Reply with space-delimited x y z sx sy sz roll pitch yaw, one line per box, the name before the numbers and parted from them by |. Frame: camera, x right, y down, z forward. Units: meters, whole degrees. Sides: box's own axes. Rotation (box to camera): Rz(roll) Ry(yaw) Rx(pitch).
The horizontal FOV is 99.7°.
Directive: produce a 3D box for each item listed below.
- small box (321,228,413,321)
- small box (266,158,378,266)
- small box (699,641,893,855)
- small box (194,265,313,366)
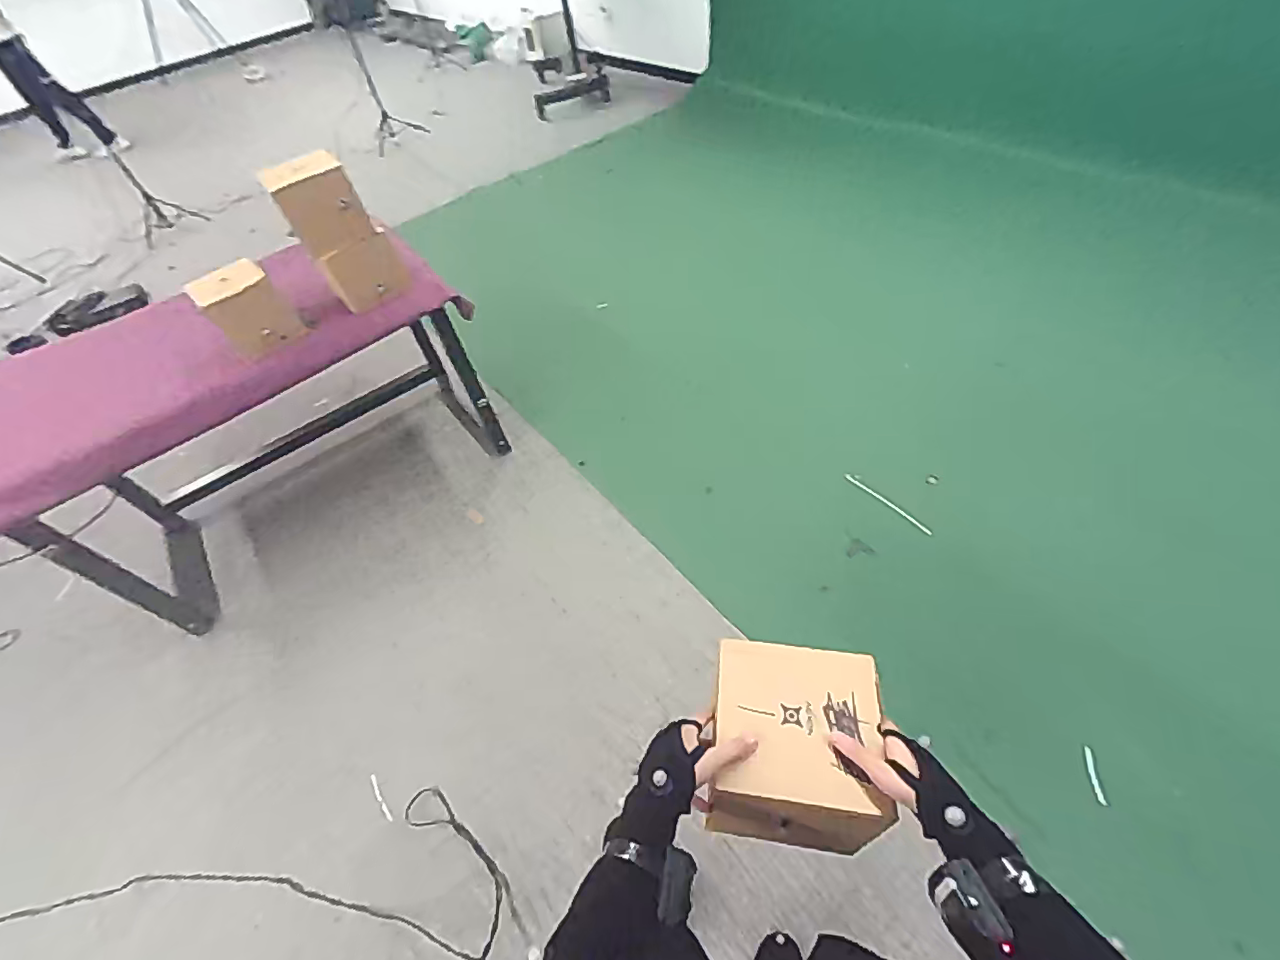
small box | -0.751 -0.571 1.482 0.179 0.176 0.168 -38 55 -20
small box | -0.787 -0.671 1.357 0.179 0.176 0.168 -33 53 -16
small box | 0.165 0.310 0.622 0.179 0.176 0.168 5 46 8
small box | -0.999 -0.424 1.406 0.168 0.176 0.179 -40 55 -21
